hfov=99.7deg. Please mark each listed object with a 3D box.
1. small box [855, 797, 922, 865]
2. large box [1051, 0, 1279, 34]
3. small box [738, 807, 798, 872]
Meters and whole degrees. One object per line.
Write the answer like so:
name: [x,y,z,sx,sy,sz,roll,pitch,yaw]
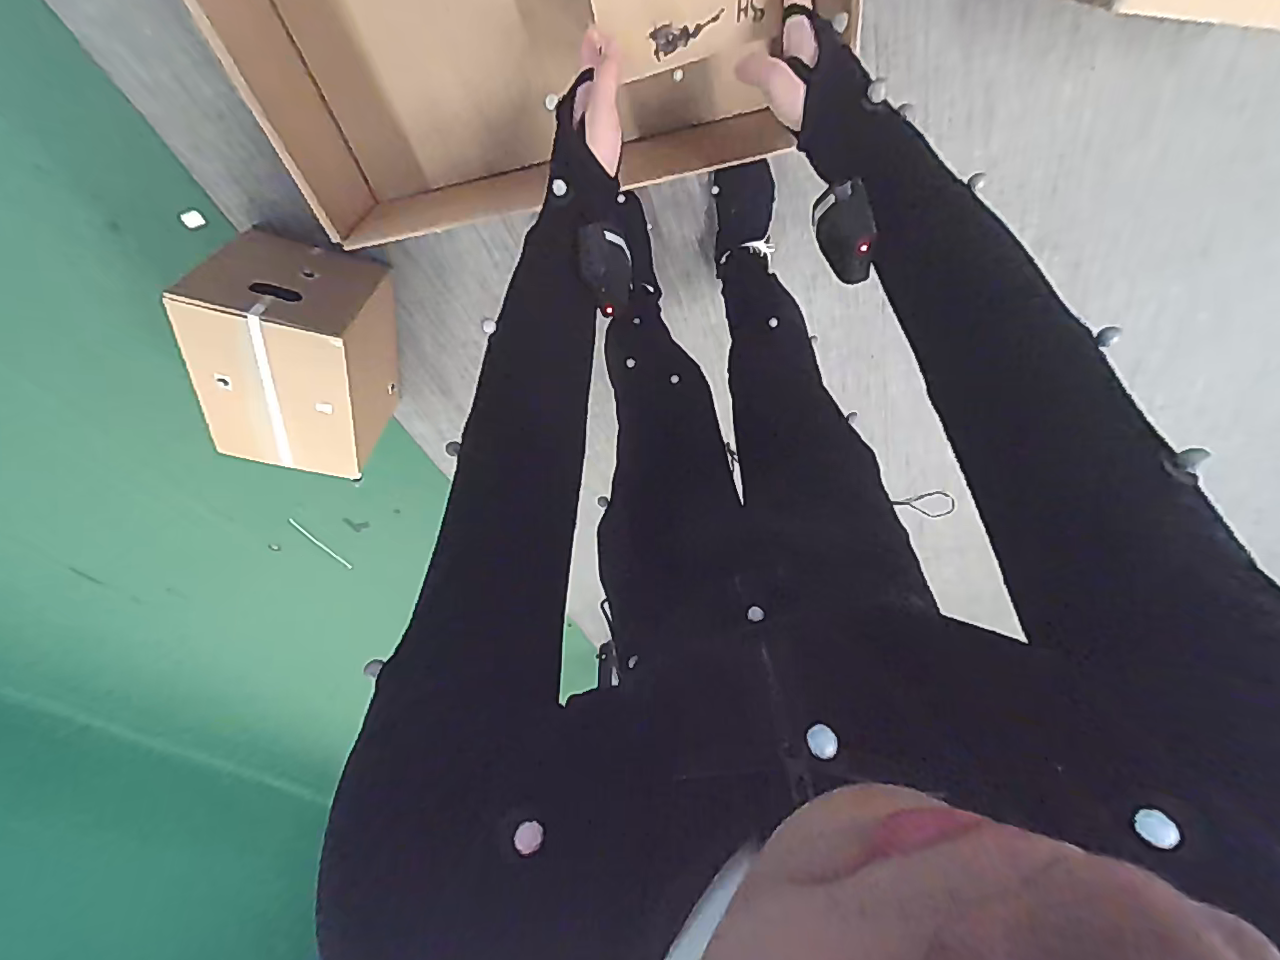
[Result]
small box: [0.824,1.171,1.807,0.168,0.176,0.179,-12,137,13]
large box: [0.808,-0.805,0.698,0.408,0.320,0.320,4,136,-3]
small box: [0.453,1.274,1.918,0.168,0.176,0.179,-14,135,13]
